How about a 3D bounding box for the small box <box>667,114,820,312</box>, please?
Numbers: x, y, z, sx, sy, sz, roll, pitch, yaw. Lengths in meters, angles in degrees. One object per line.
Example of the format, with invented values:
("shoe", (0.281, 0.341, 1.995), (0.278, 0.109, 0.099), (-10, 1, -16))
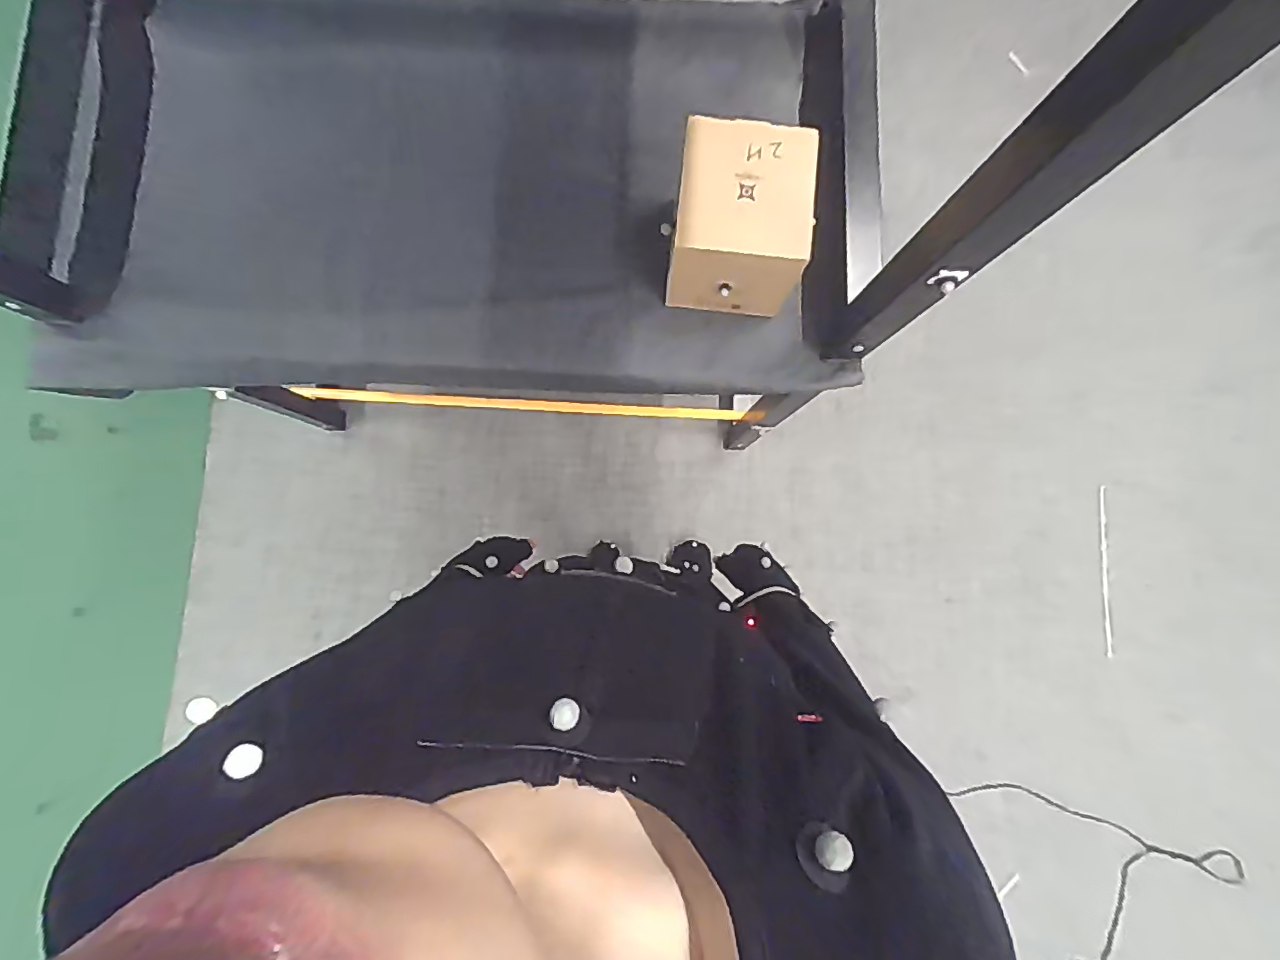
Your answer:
("small box", (0.130, -0.348, 0.738), (0.168, 0.176, 0.179), (6, 83, -1))
